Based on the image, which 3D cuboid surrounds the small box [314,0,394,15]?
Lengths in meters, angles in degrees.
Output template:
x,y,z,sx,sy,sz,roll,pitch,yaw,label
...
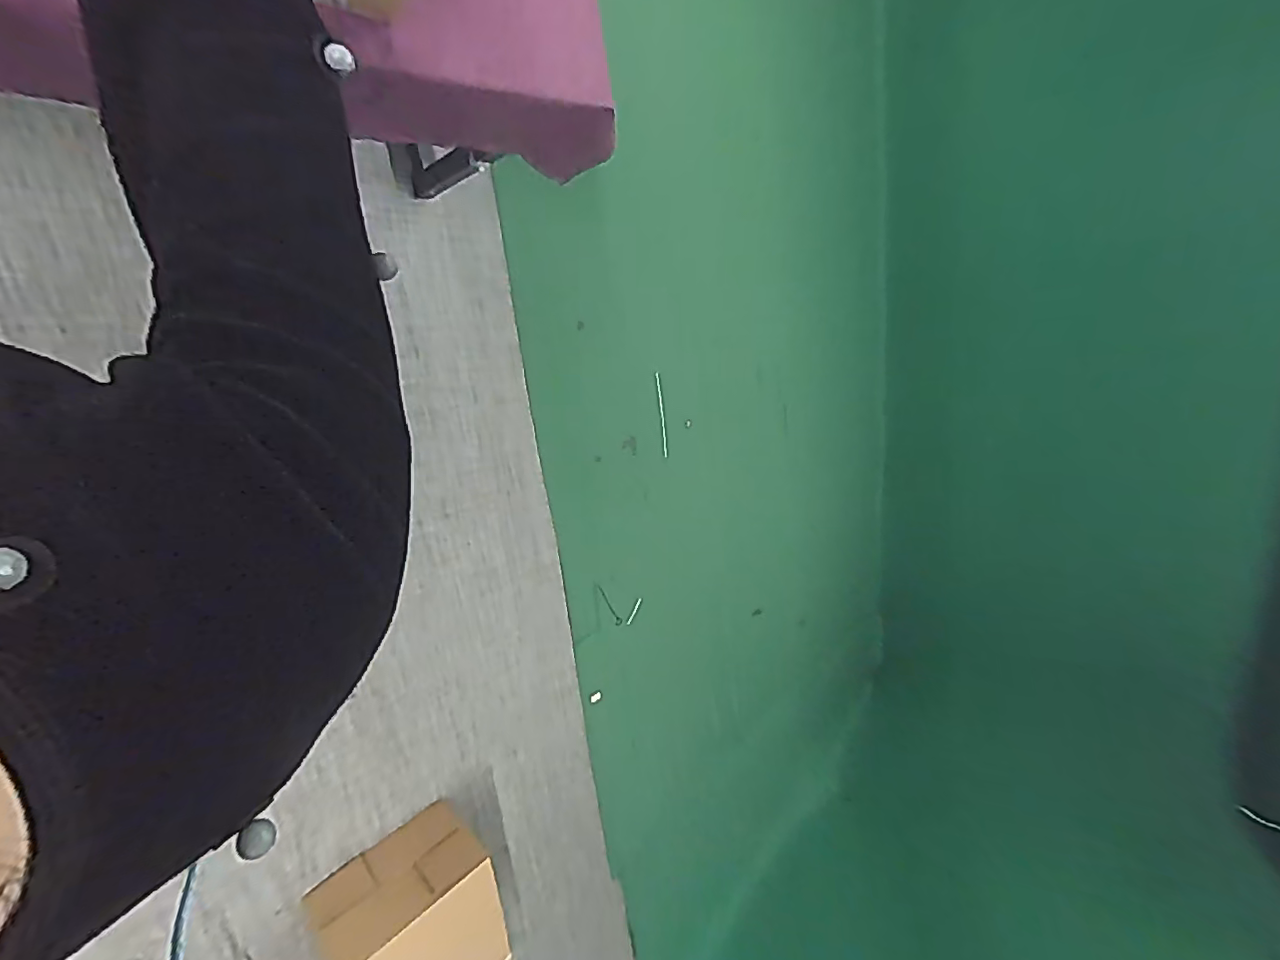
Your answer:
x,y,z,sx,sy,sz,roll,pitch,yaw,label
-0.361,-0.674,0.608,0.179,0.176,0.168,-24,111,-43,small box
